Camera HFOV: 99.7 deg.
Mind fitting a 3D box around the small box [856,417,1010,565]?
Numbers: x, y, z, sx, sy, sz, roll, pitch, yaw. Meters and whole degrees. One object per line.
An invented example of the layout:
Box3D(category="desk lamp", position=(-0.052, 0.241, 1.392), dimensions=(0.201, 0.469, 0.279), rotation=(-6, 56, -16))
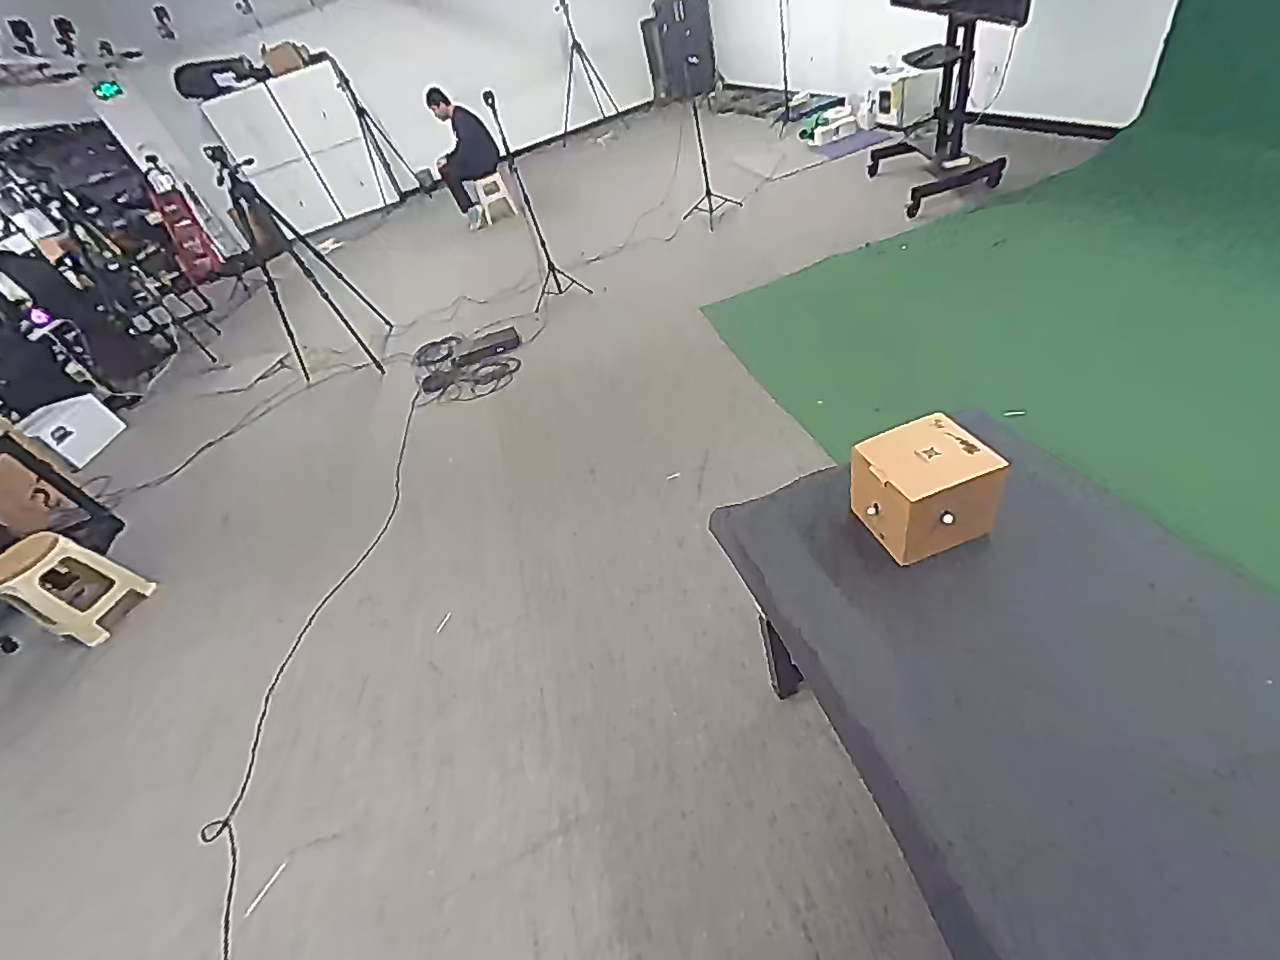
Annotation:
Box3D(category="small box", position=(0.509, 0.023, 0.962), dimensions=(0.179, 0.176, 0.168), rotation=(-22, 41, -1))
